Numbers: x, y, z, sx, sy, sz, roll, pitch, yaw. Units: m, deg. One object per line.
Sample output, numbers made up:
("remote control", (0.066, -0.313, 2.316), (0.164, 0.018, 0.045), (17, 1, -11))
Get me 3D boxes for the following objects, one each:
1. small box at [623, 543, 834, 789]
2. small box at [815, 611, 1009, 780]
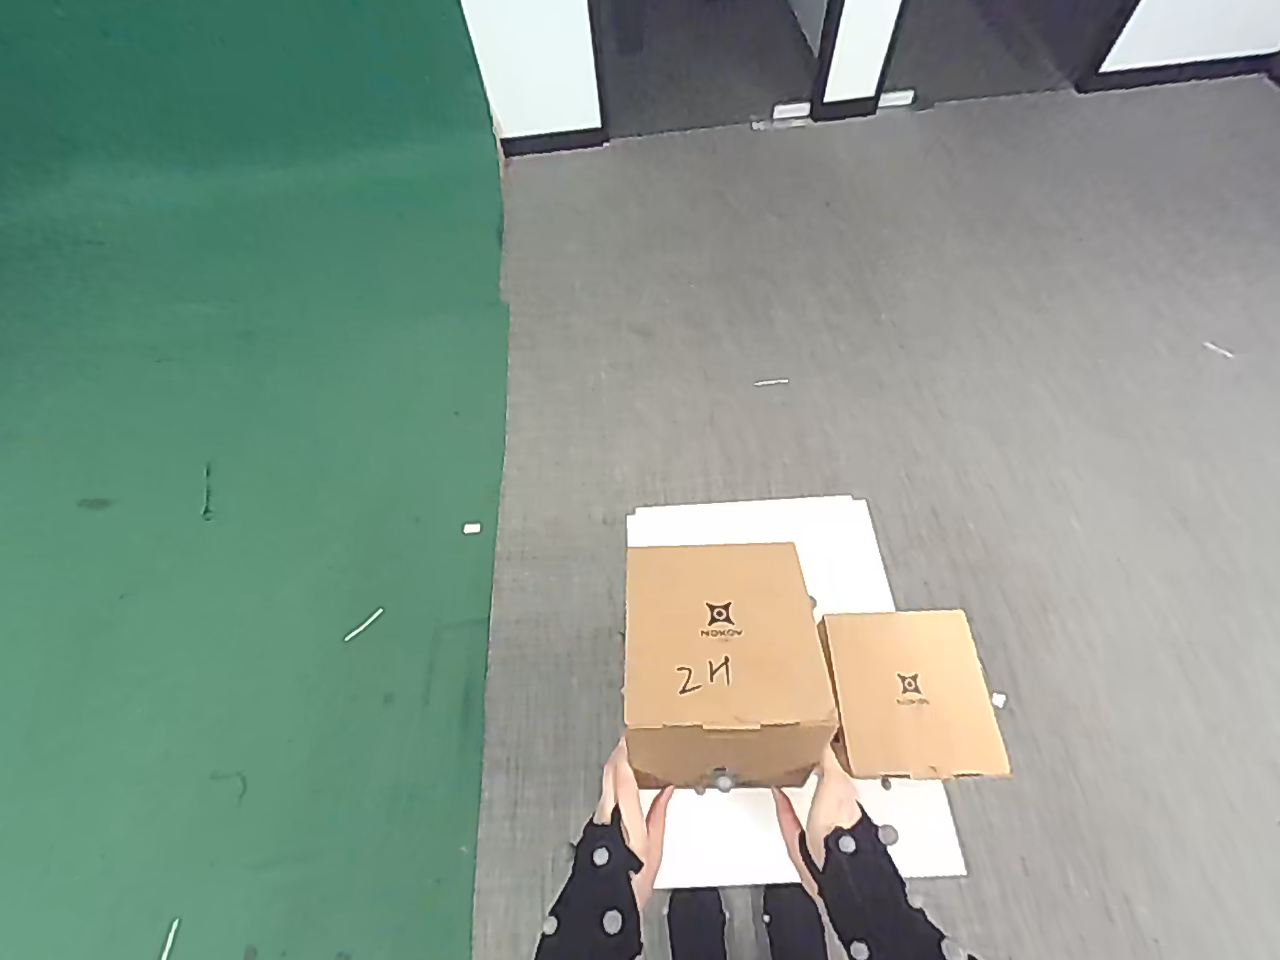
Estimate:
("small box", (0.072, 0.182, 0.529), (0.168, 0.176, 0.179), (-2, 47, 3))
("small box", (0.306, 0.272, 0.673), (0.168, 0.176, 0.179), (-3, 62, 4))
